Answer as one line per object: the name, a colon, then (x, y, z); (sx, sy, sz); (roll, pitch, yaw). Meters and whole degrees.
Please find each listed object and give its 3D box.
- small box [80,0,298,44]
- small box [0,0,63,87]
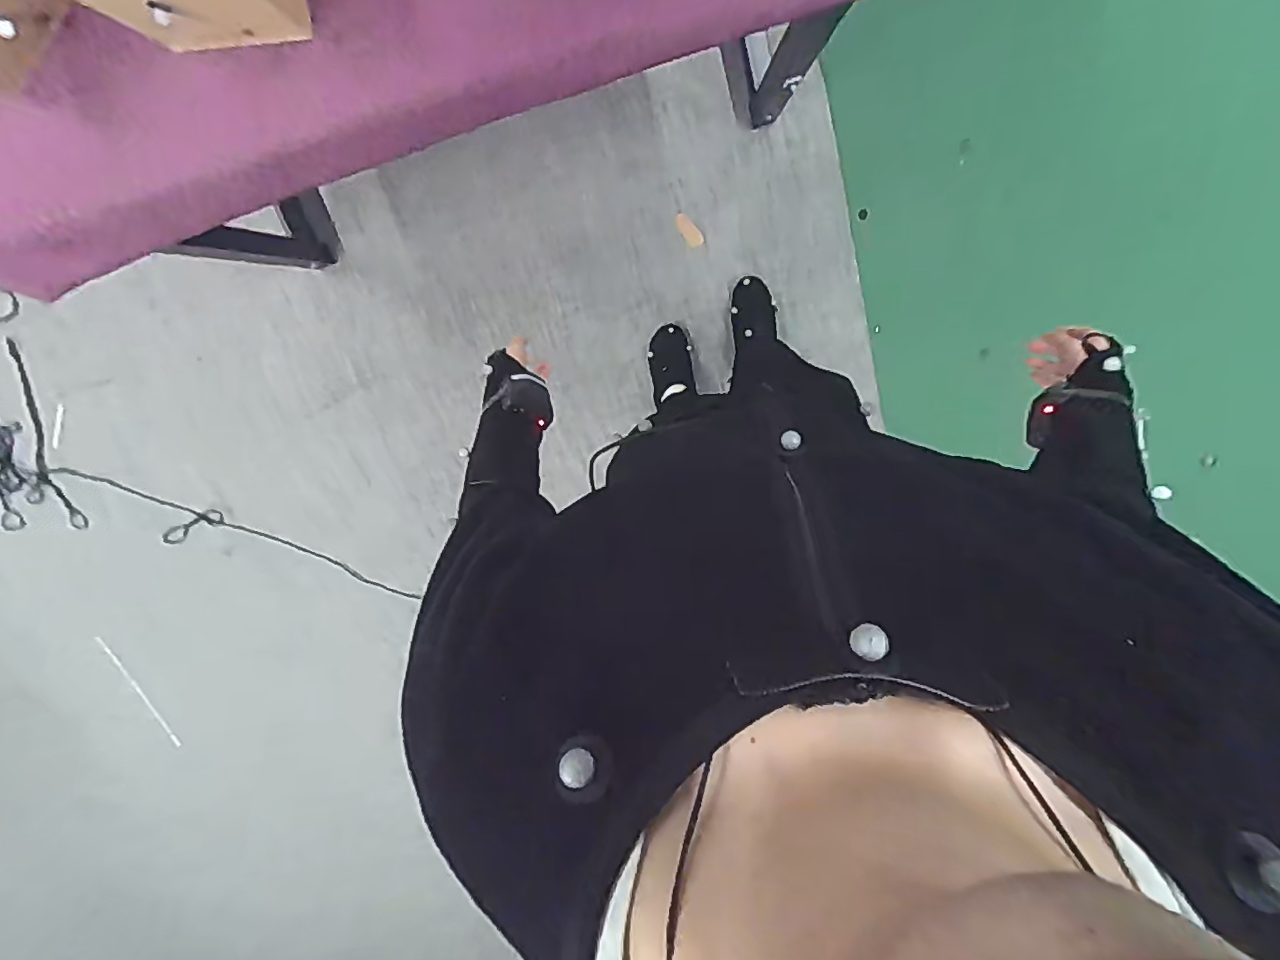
small box: (-0.465, -0.550, 0.512); (0.168, 0.176, 0.179); (-4, 107, 2)
small box: (-0.743, -0.533, 0.515); (0.168, 0.176, 0.179); (-42, 103, 13)
